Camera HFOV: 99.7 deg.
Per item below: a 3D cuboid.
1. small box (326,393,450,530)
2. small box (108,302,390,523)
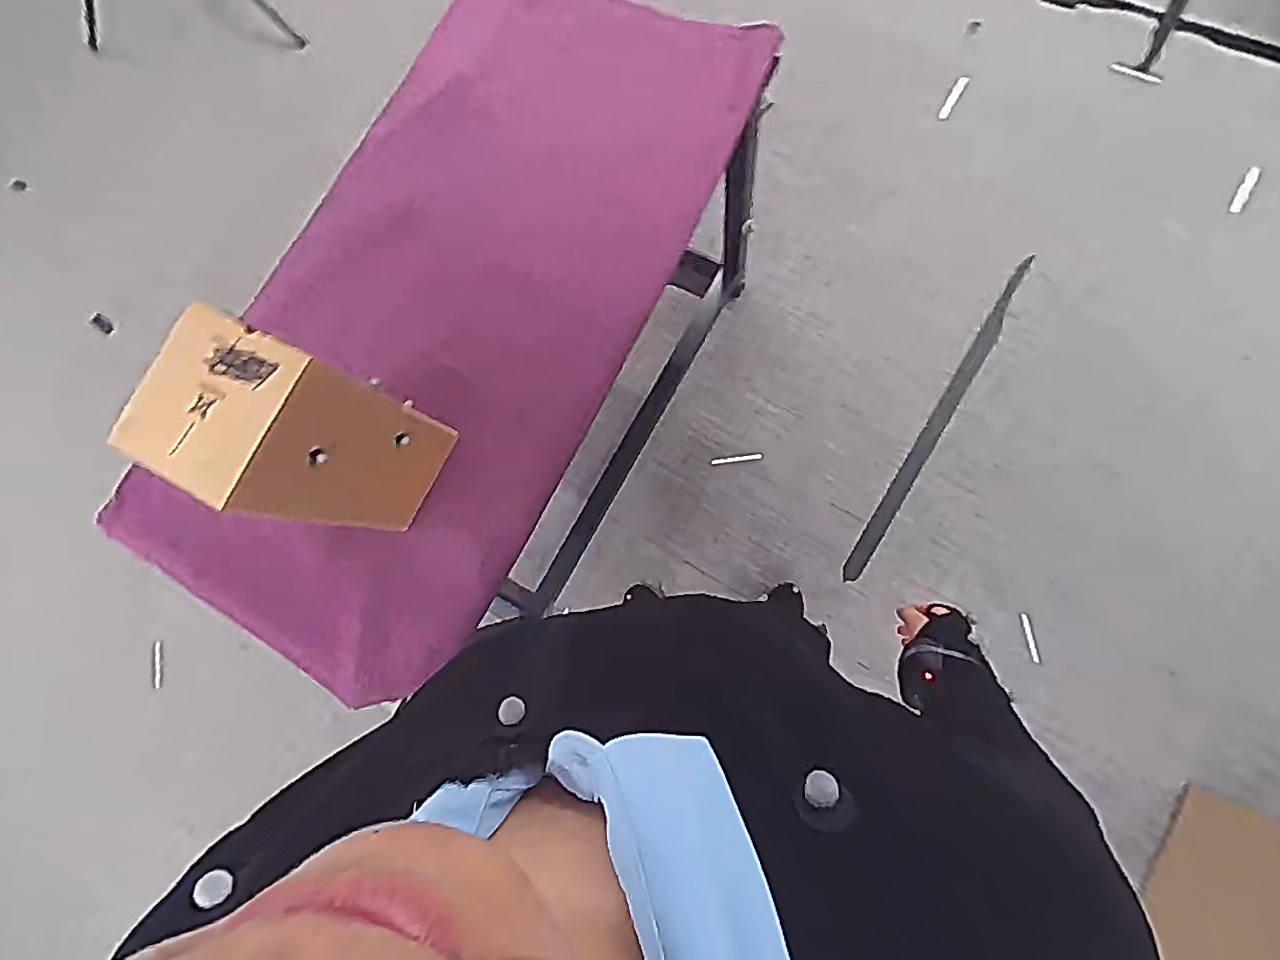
[{"bbox_3d":[-0.411,-0.039,0.787,0.168,0.176,0.179,26,84,11],"label":"small box"},{"bbox_3d":[-0.426,-0.066,0.626,0.168,0.176,0.179,26,85,11],"label":"small box"}]
